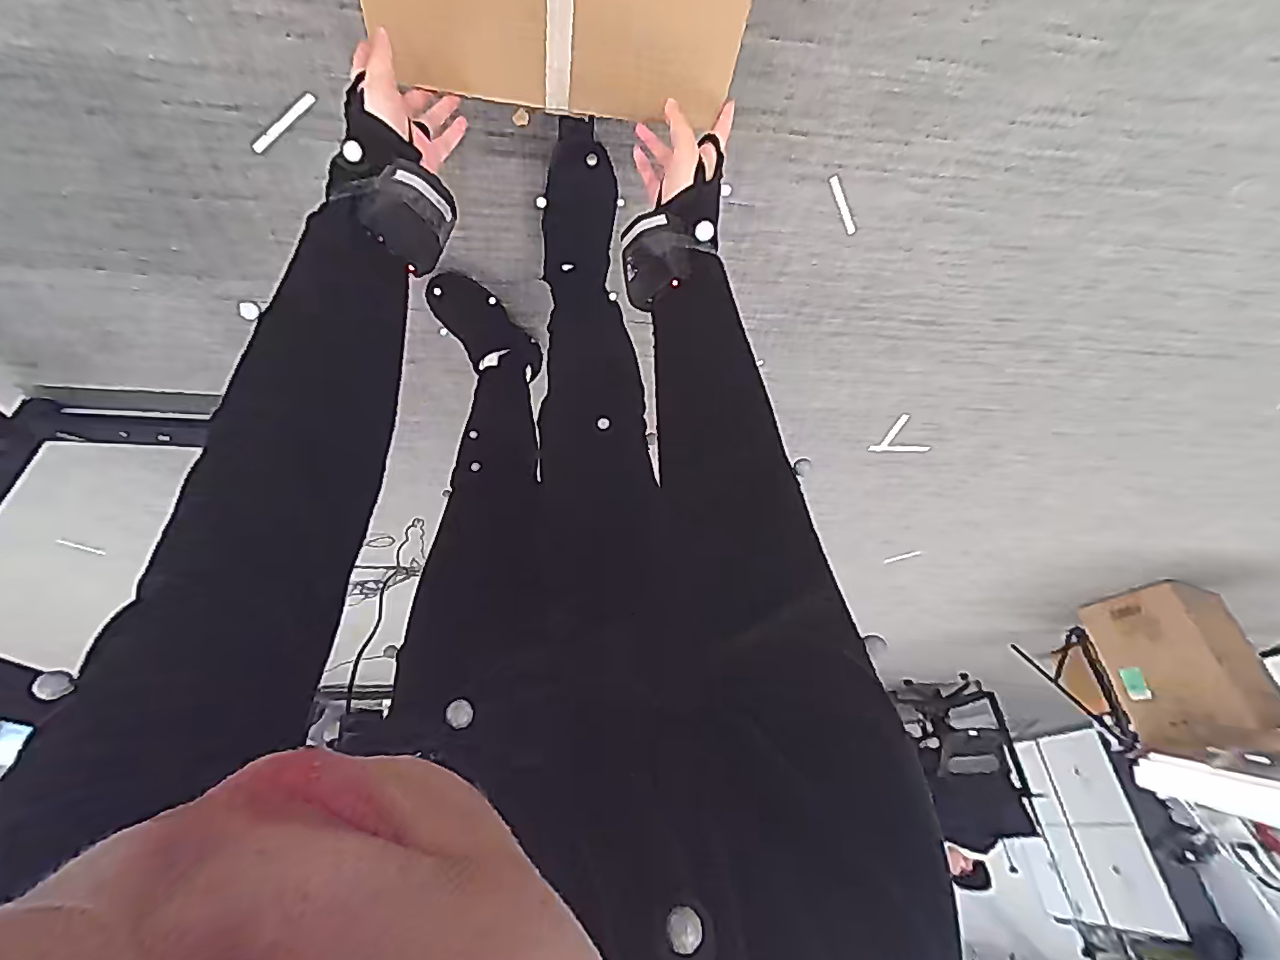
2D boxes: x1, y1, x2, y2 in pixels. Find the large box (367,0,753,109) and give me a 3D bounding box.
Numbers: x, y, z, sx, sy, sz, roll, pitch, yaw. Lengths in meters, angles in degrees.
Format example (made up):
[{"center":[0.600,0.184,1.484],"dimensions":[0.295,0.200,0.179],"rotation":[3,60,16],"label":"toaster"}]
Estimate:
[{"center":[-0.049,-0.585,0.408],"dimensions":[0.320,0.320,0.408],"rotation":[2,146,-9],"label":"large box"}]
